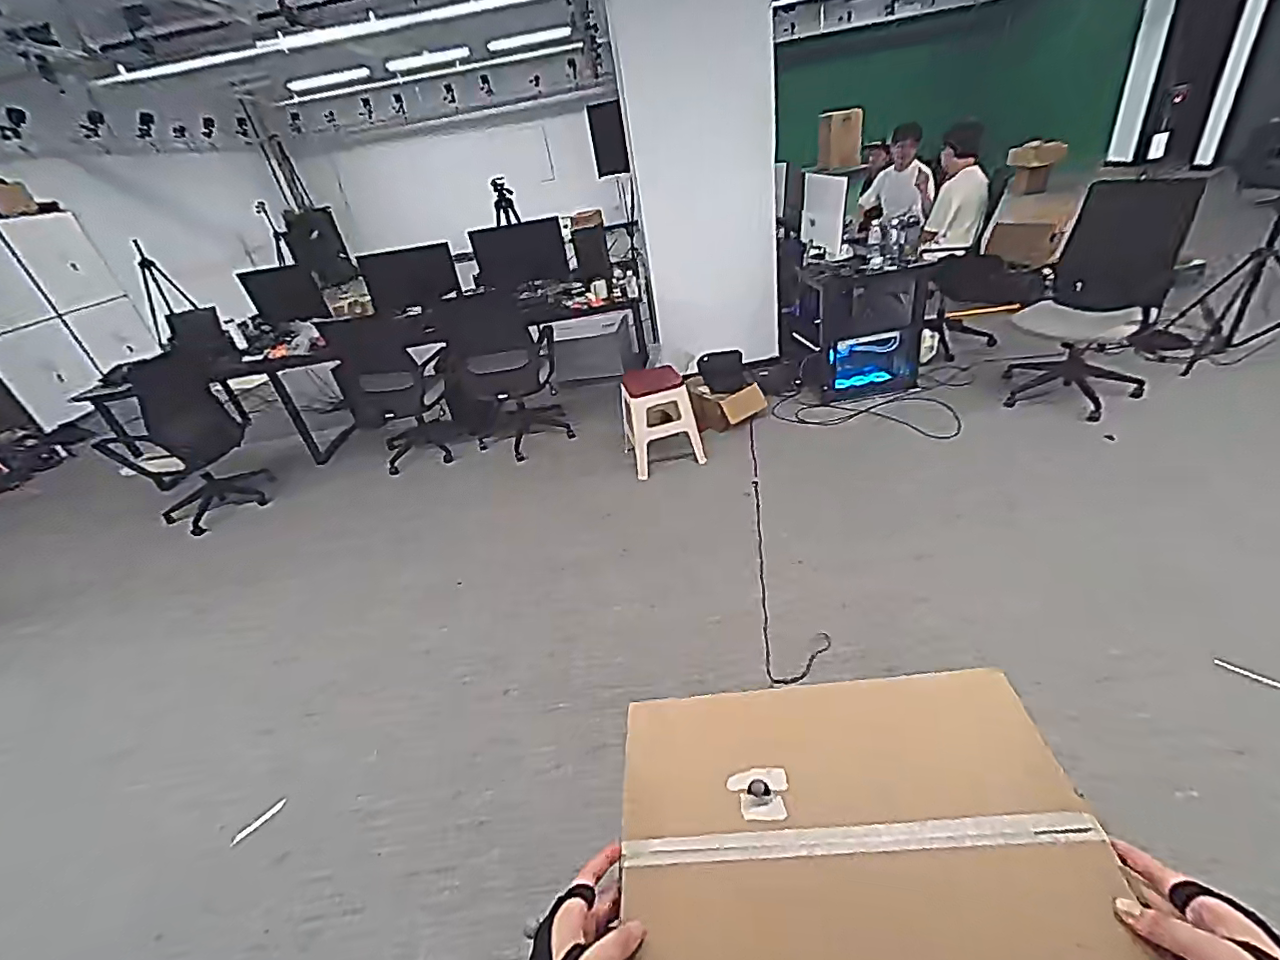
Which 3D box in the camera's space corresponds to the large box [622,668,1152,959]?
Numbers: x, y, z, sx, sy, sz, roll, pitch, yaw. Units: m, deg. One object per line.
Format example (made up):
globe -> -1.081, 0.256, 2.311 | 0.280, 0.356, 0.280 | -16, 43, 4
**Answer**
large box -> 0.212, 0.447, 0.575 | 0.408, 0.320, 0.320 | -10, 34, 8
